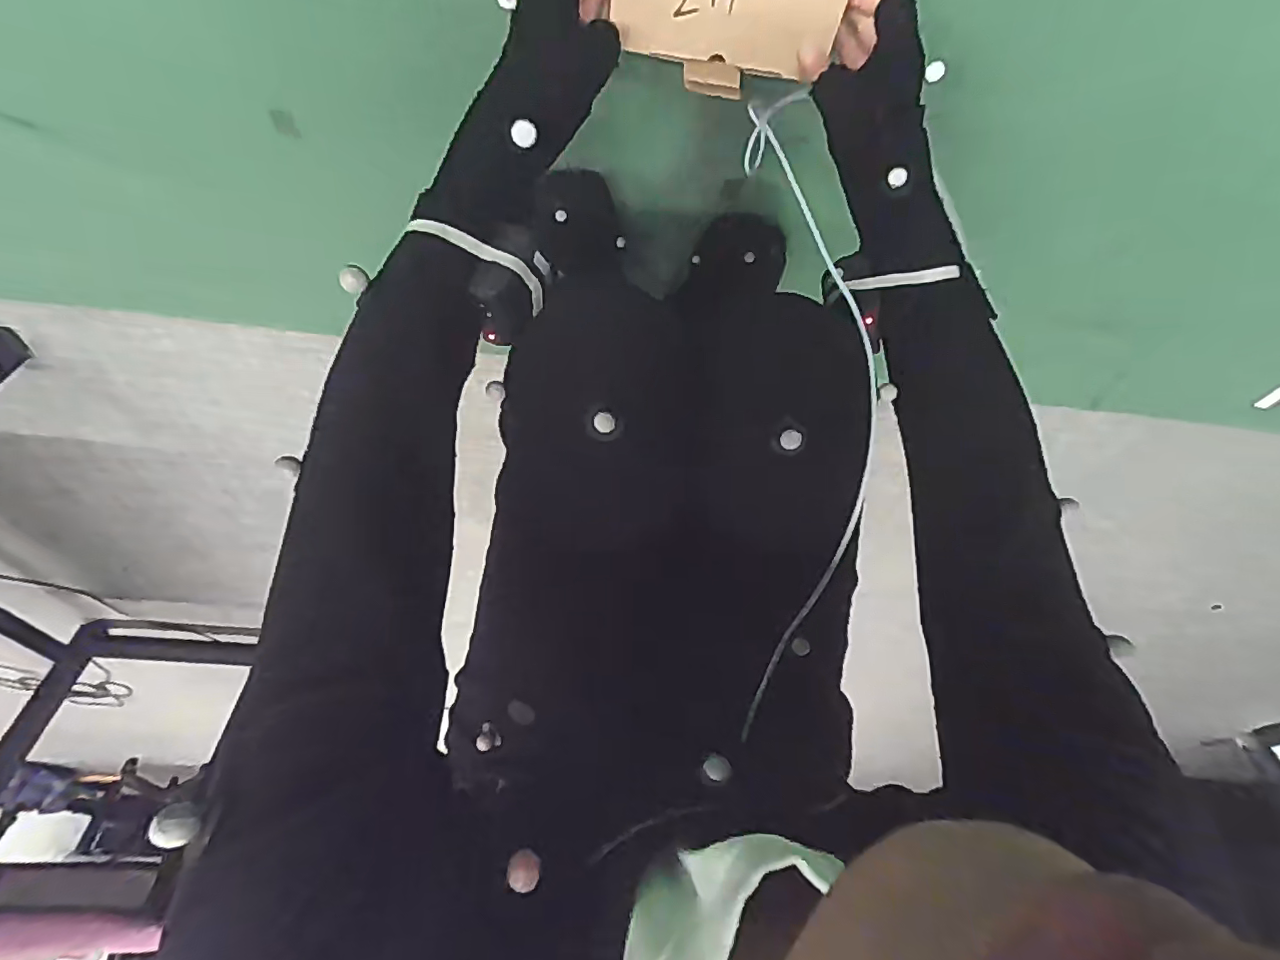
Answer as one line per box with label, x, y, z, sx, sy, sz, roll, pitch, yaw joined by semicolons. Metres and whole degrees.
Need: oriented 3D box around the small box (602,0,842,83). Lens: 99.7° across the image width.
small box;0.061;-0.423;0.385;0.168;0.176;0.179;4;140;-8
